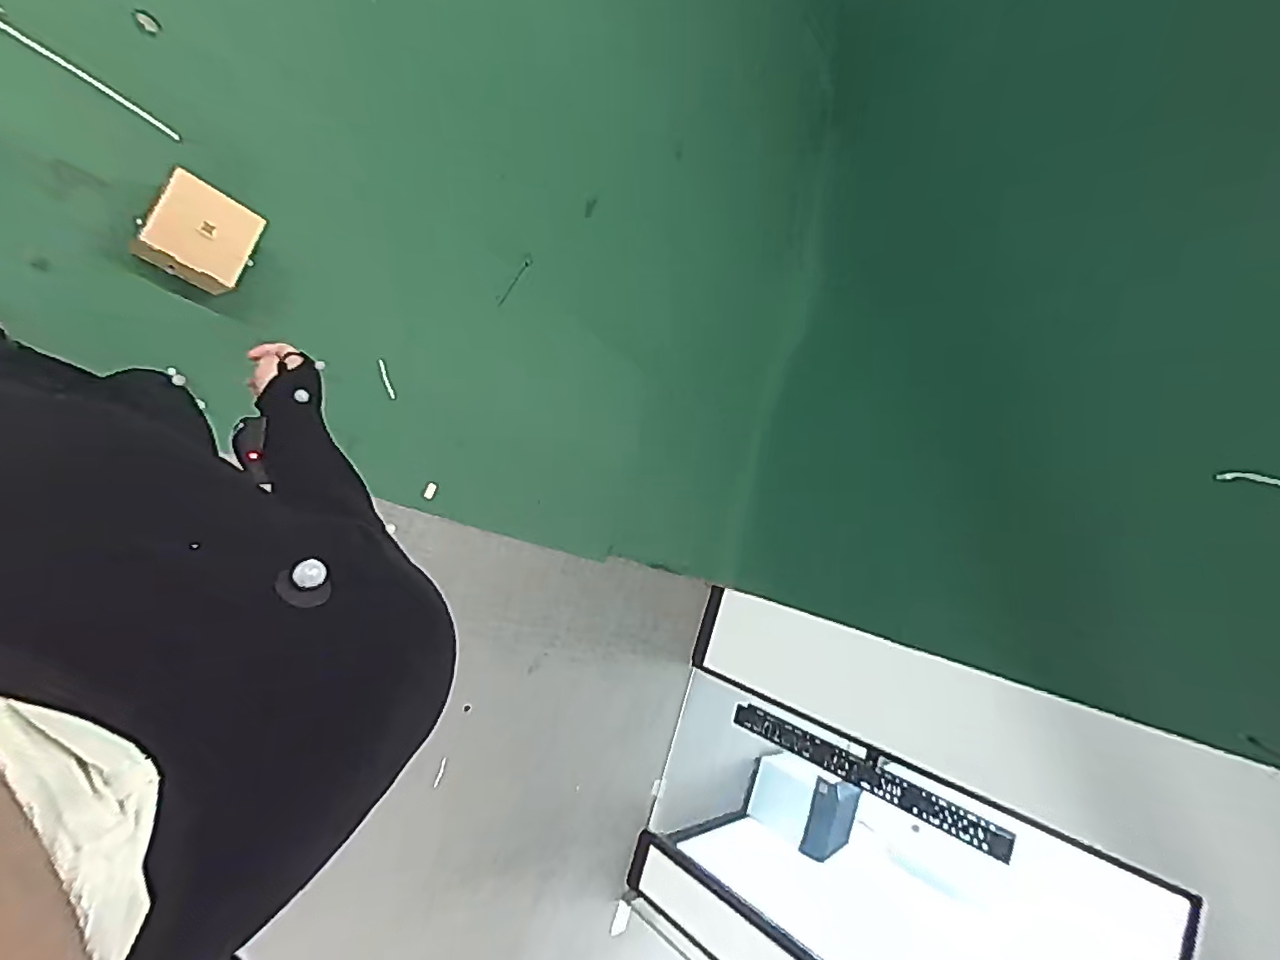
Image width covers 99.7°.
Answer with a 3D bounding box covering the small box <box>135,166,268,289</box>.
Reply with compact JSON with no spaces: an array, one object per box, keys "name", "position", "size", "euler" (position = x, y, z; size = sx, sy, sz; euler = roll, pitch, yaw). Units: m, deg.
[{"name":"small box","position":[-0.967,-0.544,1.189],"size":[0.168,0.176,0.179],"euler":[29,78,-48]}]
